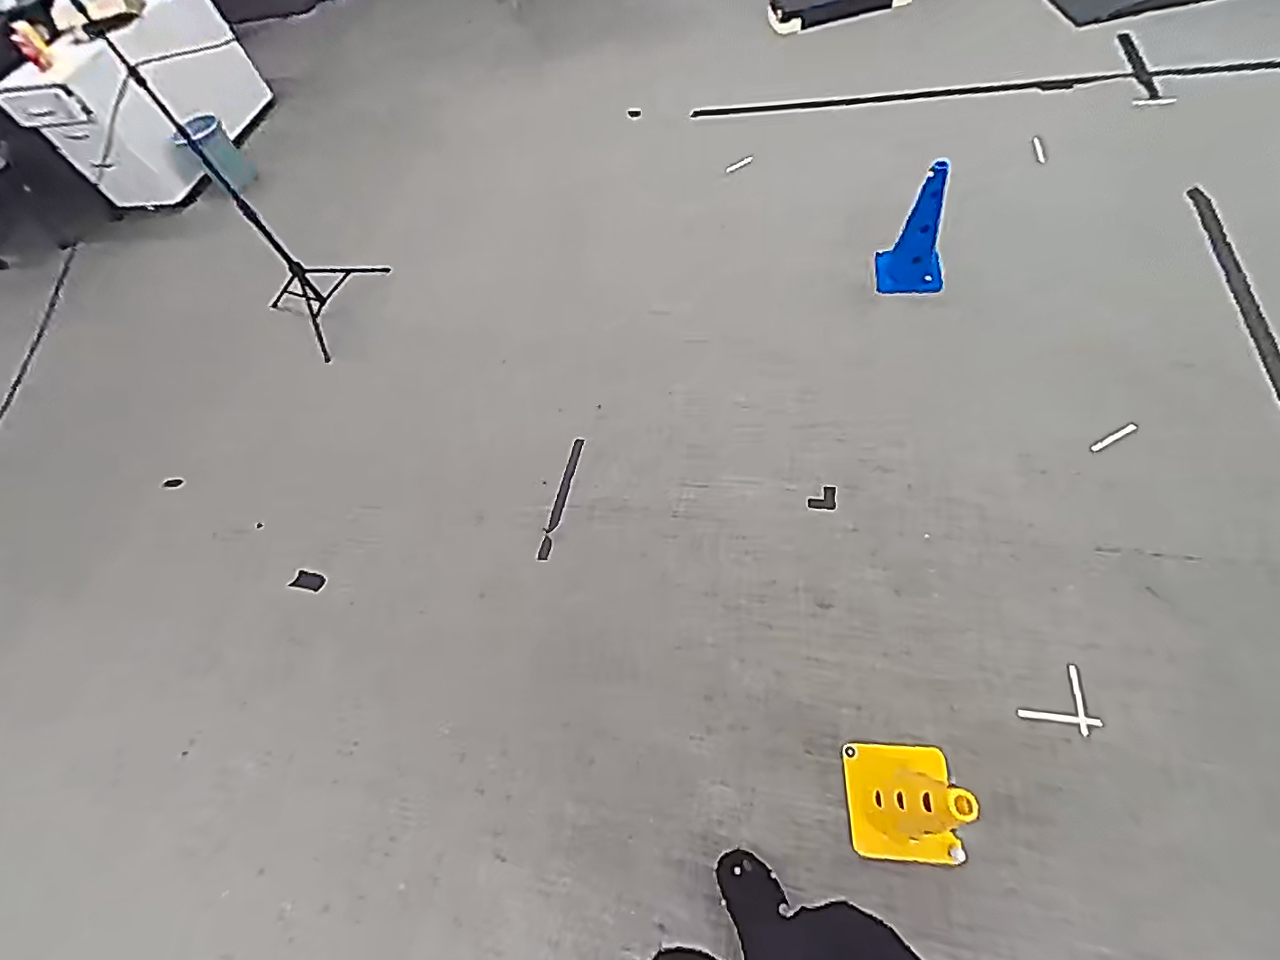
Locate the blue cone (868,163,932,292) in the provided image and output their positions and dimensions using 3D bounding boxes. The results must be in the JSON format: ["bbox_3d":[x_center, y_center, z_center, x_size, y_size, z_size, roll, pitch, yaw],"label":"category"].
[{"bbox_3d":[0.825,-0.772,1.646,0.192,0.380,0.193,4,61,14],"label":"blue cone"}]
